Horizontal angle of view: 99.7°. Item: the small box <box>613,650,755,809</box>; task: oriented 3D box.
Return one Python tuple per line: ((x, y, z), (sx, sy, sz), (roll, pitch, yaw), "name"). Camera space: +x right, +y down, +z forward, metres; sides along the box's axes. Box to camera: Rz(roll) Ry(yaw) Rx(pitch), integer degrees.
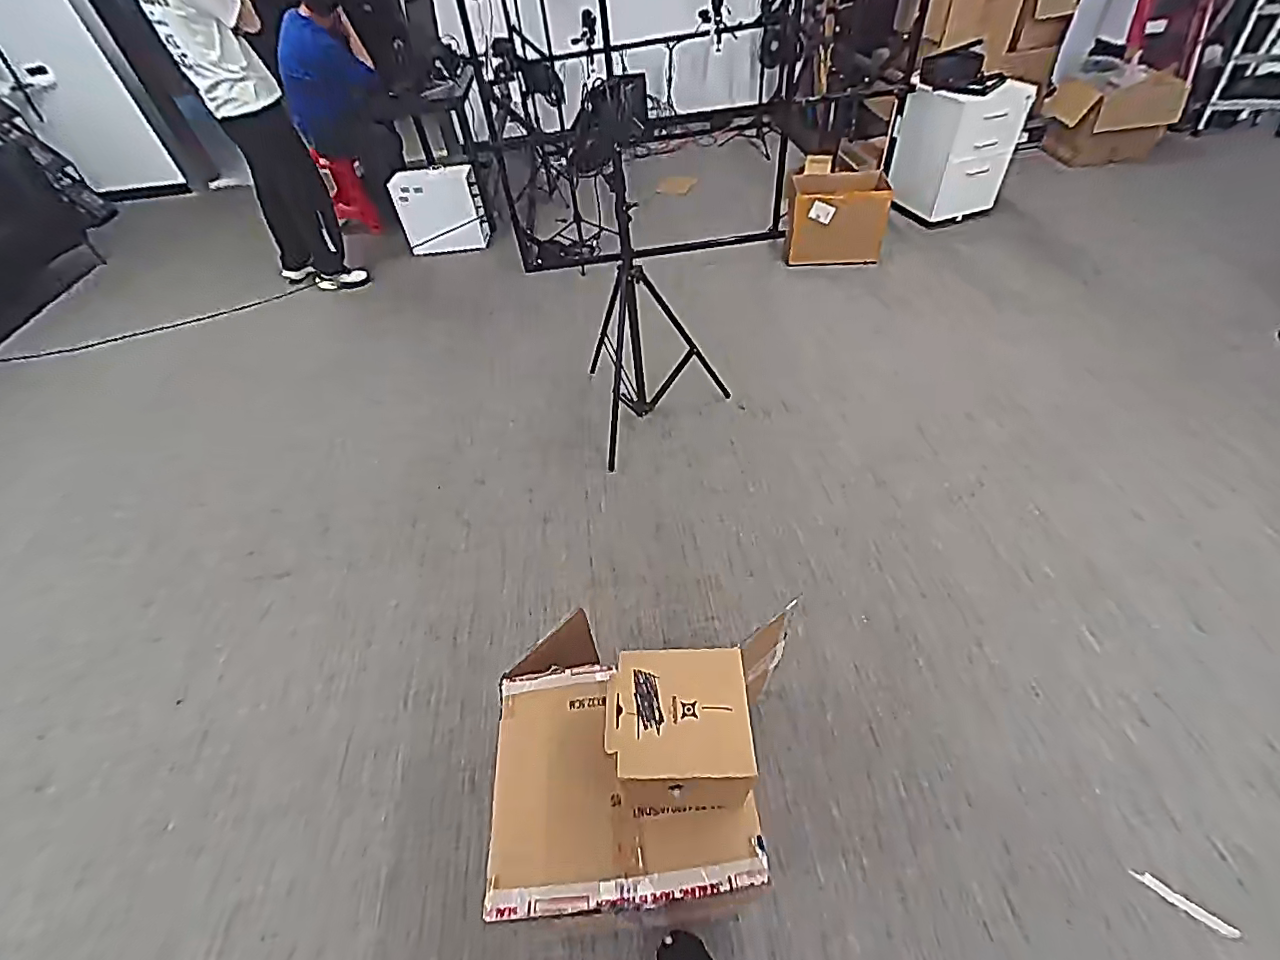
((0.058, 0.356, 0.767), (0.179, 0.176, 0.168), (-2, 49, 1), "small box")
